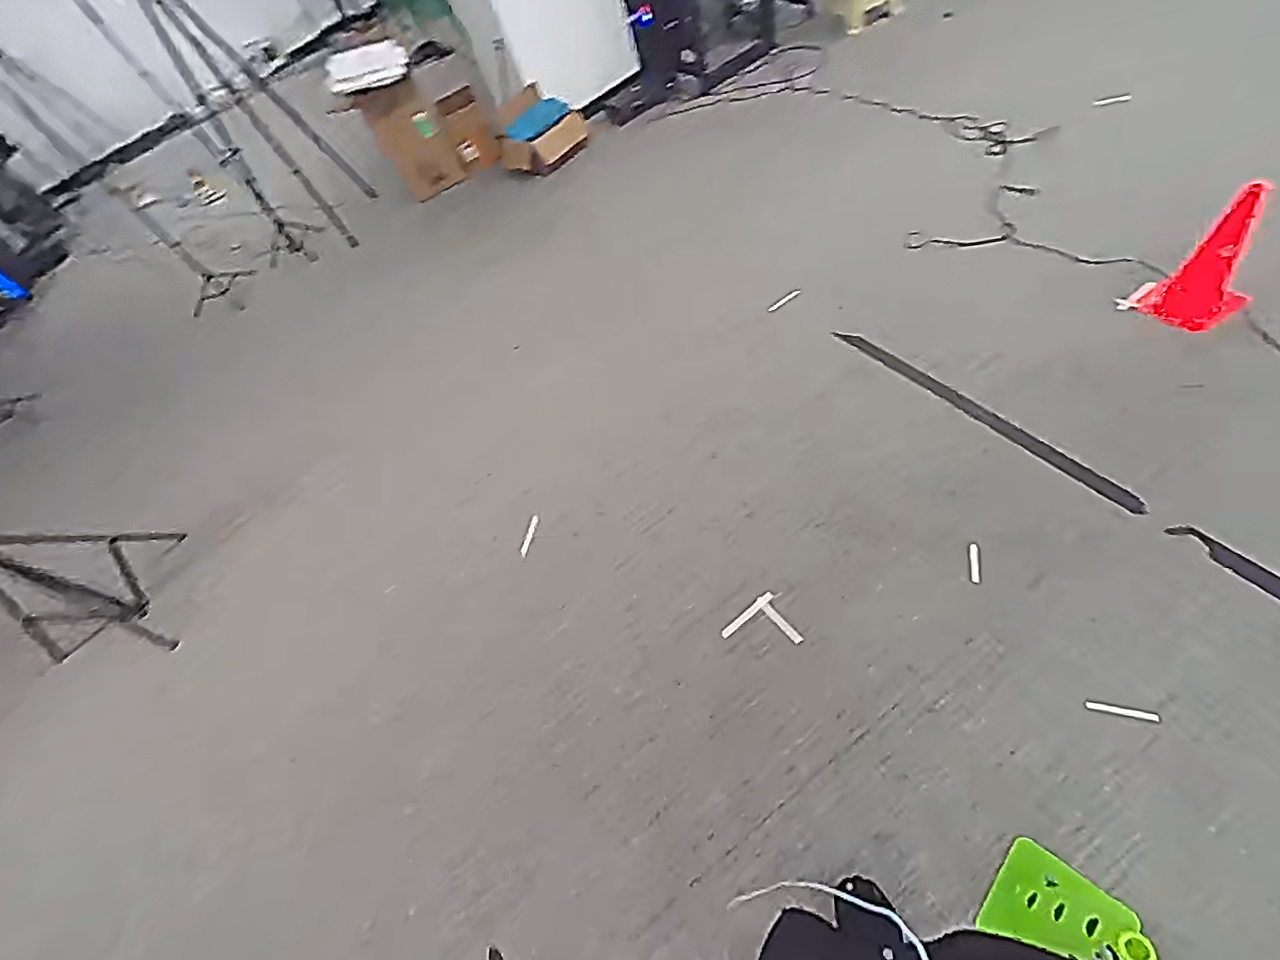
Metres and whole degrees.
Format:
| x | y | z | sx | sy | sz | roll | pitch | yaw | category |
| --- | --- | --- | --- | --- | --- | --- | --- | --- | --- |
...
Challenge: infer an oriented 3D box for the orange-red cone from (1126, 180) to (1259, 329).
| x | y | z | sx | sy | sz | roll | pitch | yaw | category |
| --- | --- | --- | --- | --- | --- | --- | --- | --- | --- |
| 1.543 | -0.626 | 1.457 | 0.198 | 0.360 | 0.199 | -31 | 52 | -2 | orange-red cone |

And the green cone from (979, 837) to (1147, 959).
| x | y | z | sx | sy | sz | roll | pitch | yaw | category |
| --- | --- | --- | --- | --- | --- | --- | --- | --- | --- |
| 0.697 | 0.697 | 0.838 | 0.202 | 0.368 | 0.200 | 28 | 69 | 35 | green cone |
